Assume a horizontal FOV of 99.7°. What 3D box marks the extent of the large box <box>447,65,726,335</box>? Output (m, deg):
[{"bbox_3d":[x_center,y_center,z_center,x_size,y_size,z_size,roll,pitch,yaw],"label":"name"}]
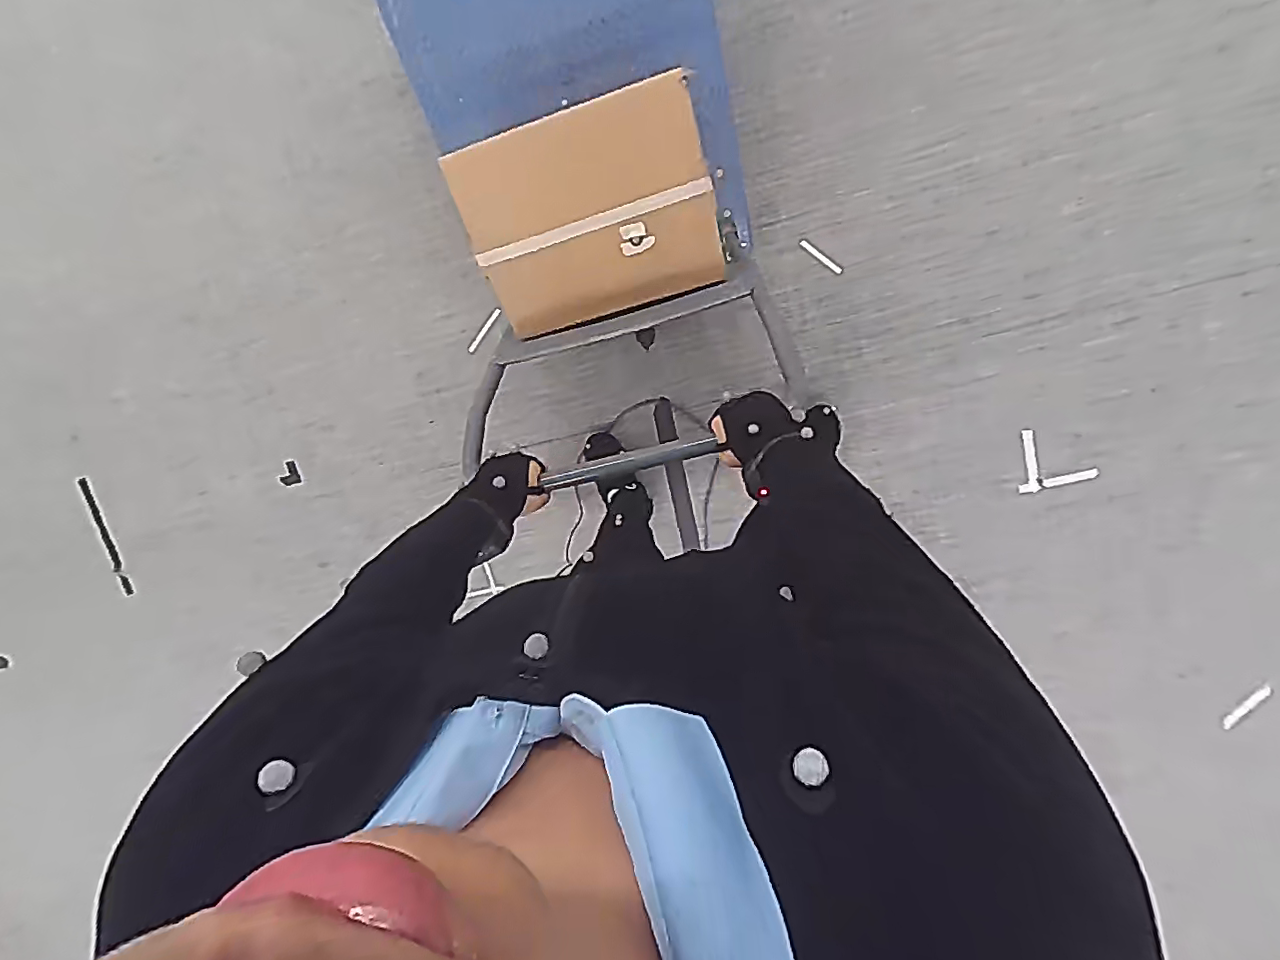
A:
[{"bbox_3d":[-0.081,-0.528,1.034,0.408,0.320,0.320,-15,125,9],"label":"large box"}]
